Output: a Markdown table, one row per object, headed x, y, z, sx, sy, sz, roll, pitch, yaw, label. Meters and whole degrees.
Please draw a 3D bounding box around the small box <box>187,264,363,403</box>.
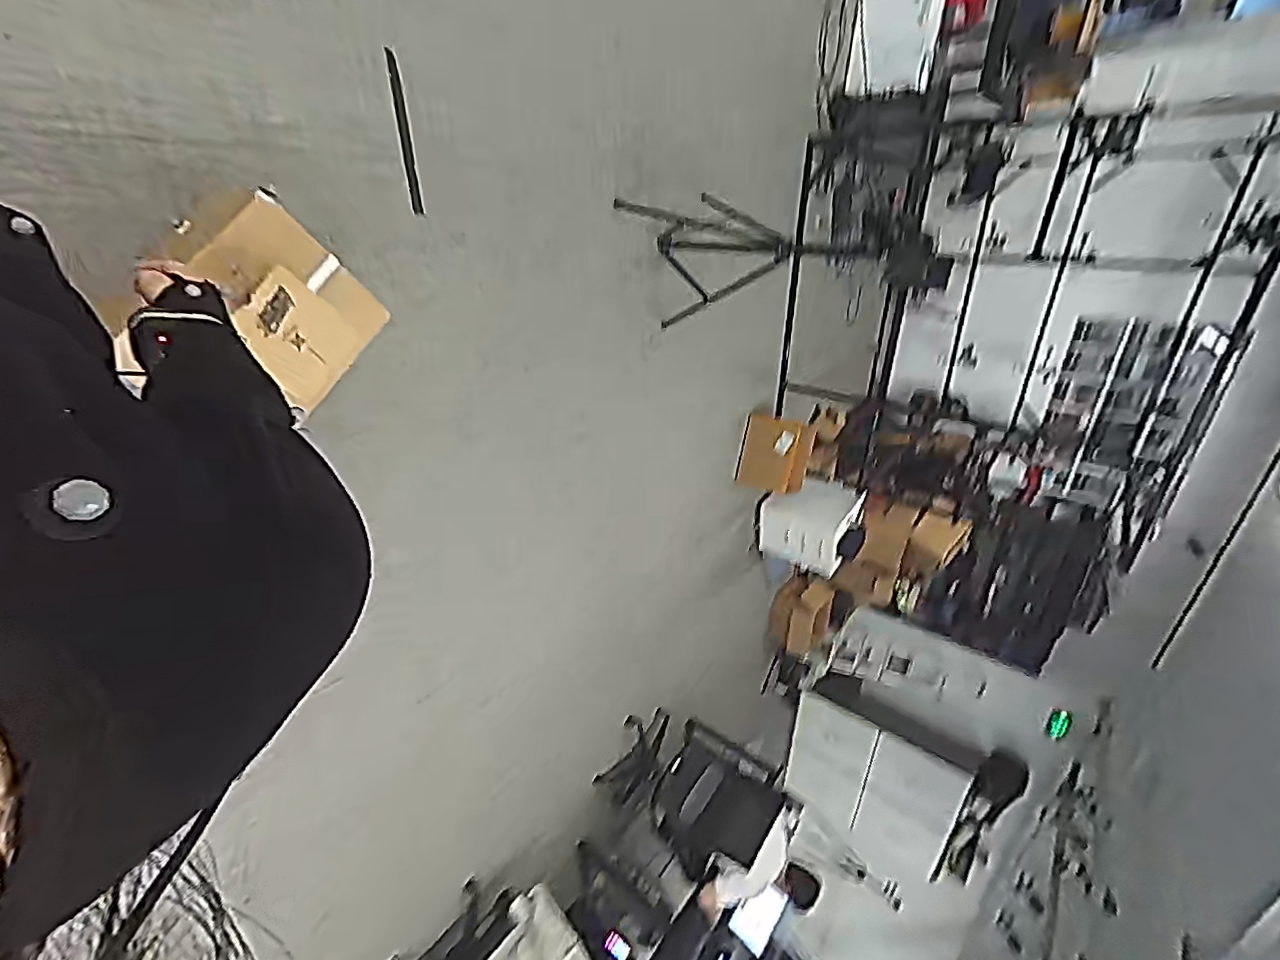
| x | y | z | sx | sy | sz | roll | pitch | yaw | label |
| --- | --- | --- | --- | --- | --- | --- | --- | --- | --- |
| -0.656 | -0.265 | 0.972 | 0.168 | 0.176 | 0.179 | -59 | 144 | -16 | small box |
